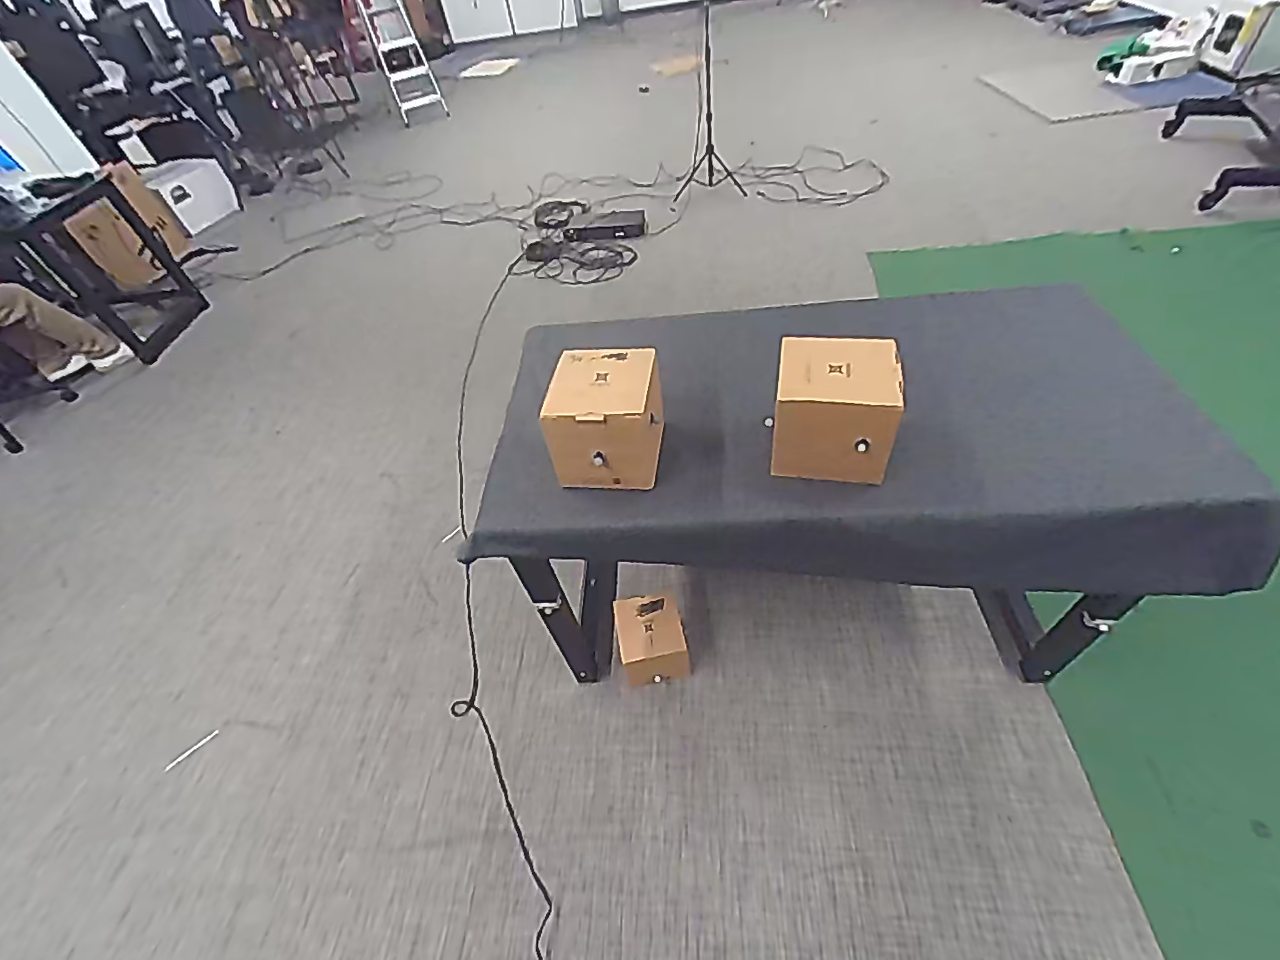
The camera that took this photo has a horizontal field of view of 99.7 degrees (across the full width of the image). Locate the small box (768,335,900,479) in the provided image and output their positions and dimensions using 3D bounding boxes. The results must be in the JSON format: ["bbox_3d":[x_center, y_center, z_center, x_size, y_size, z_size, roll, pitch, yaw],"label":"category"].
[{"bbox_3d":[0.309,-0.118,0.889,0.179,0.176,0.168,4,48,13],"label":"small box"}]

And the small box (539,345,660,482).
[{"bbox_3d":[-0.058,-0.111,0.933,0.168,0.176,0.179,2,49,9],"label":"small box"}]
